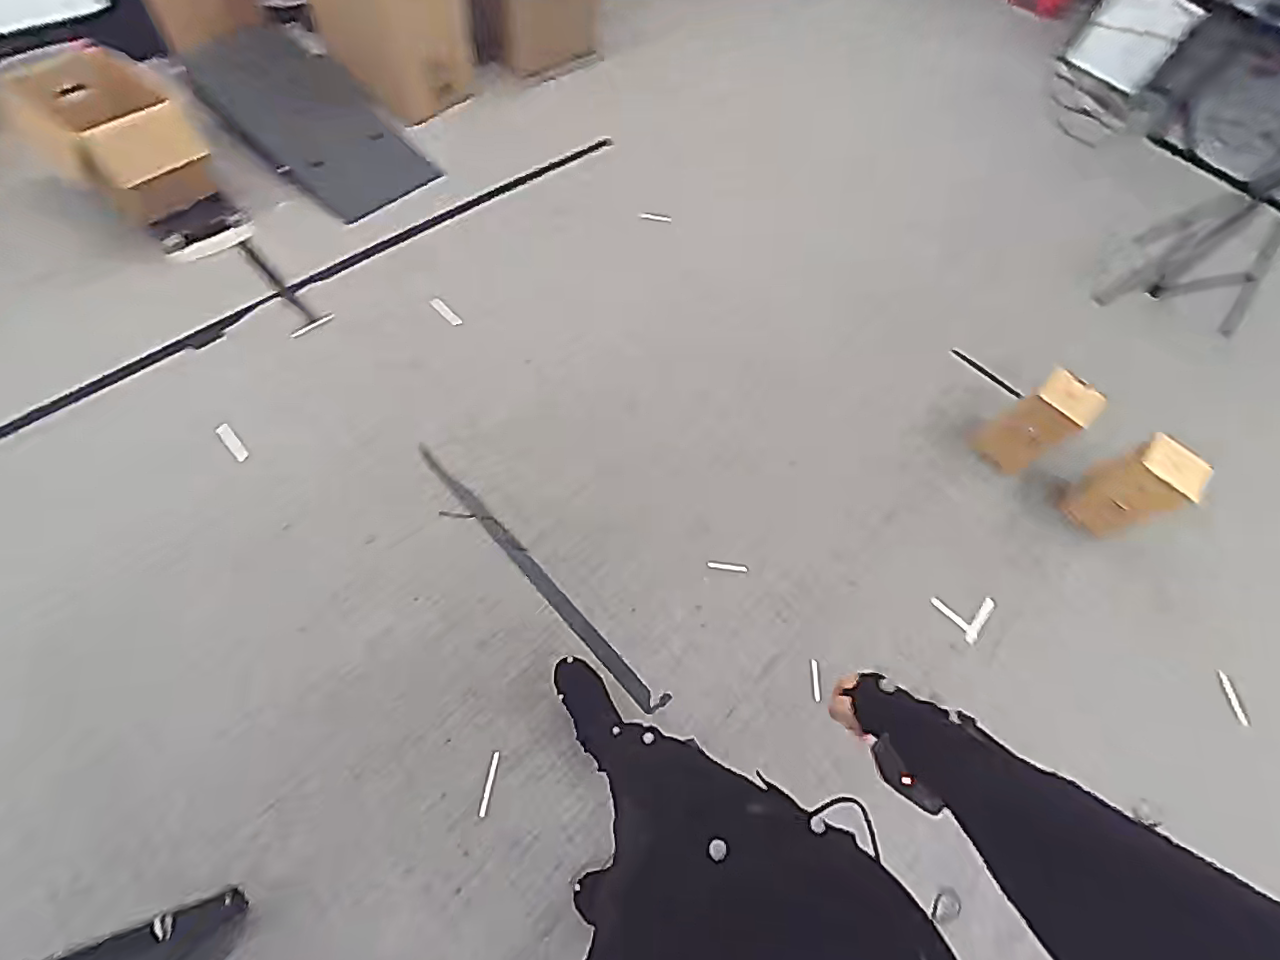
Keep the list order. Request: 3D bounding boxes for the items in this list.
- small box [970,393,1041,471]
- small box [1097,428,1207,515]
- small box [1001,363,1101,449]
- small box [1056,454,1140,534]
[{"bbox_3d":[1.311,-0.166,1.905,0.179,0.176,0.168,-40,74,-23],"label":"small box"},{"bbox_3d":[1.581,-0.021,1.681,0.168,0.176,0.179,41,64,13],"label":"small box"},{"bbox_3d":[1.327,-0.237,1.758,0.168,0.176,0.179,43,65,15],"label":"small box"},{"bbox_3d":[1.559,0.052,1.825,0.168,0.176,0.179,40,64,13],"label":"small box"}]
